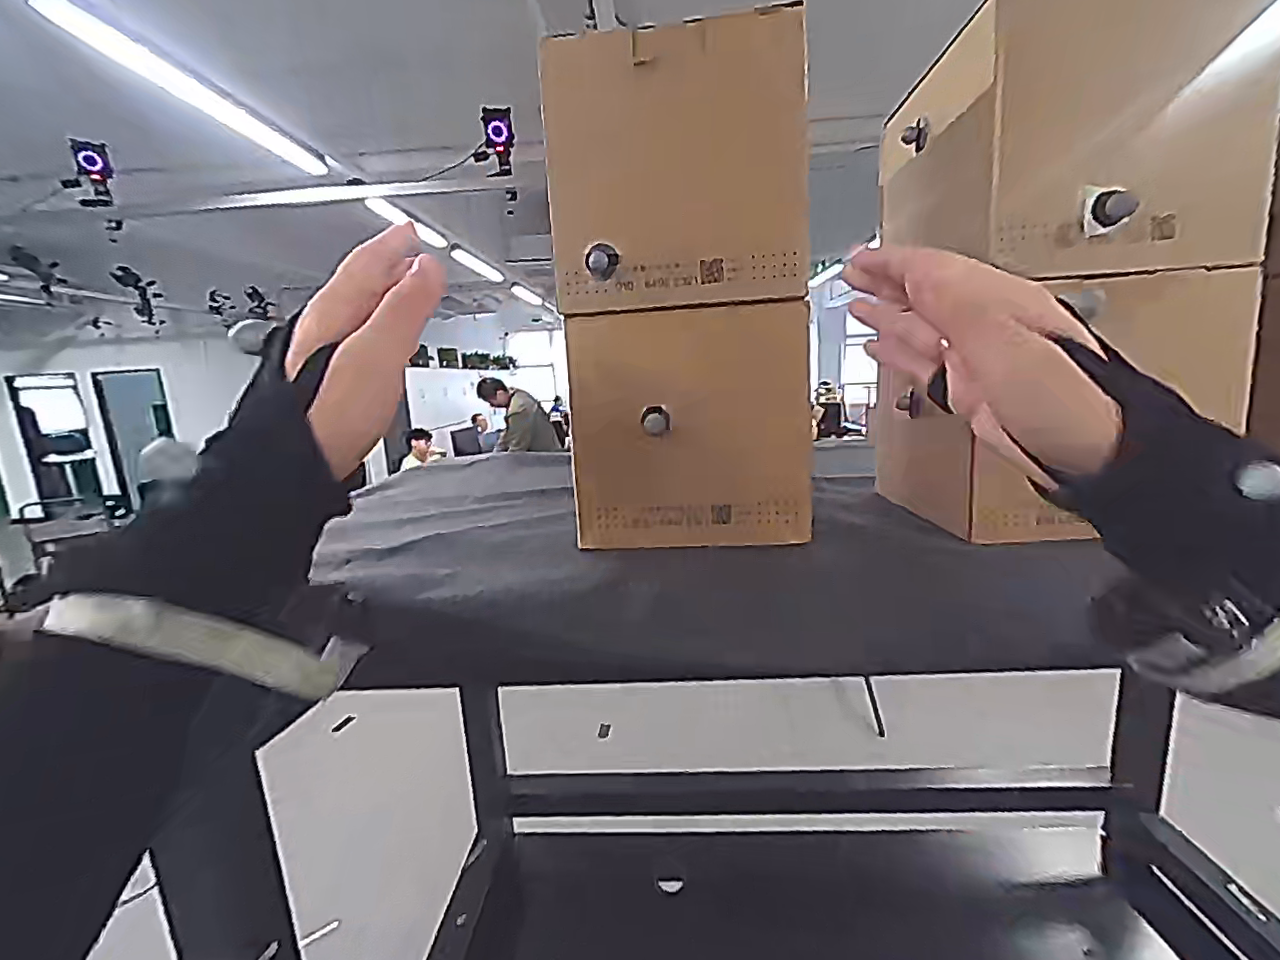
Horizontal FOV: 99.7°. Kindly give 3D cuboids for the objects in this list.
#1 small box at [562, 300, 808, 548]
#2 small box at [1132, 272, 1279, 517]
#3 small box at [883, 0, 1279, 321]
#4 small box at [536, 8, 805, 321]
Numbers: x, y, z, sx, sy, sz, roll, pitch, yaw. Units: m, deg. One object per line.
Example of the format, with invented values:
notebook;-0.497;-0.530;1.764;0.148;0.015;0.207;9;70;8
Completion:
small box;0.041;-0.044;0.450;0.168;0.176;0.179;-2;9;6
small box;0.520;-0.066;0.402;0.168;0.176;0.179;-4;10;5
small box;0.293;-0.216;0.400;0.168;0.176;0.179;-4;10;3
small box;0.029;-0.205;0.420;0.168;0.176;0.179;-2;8;6
